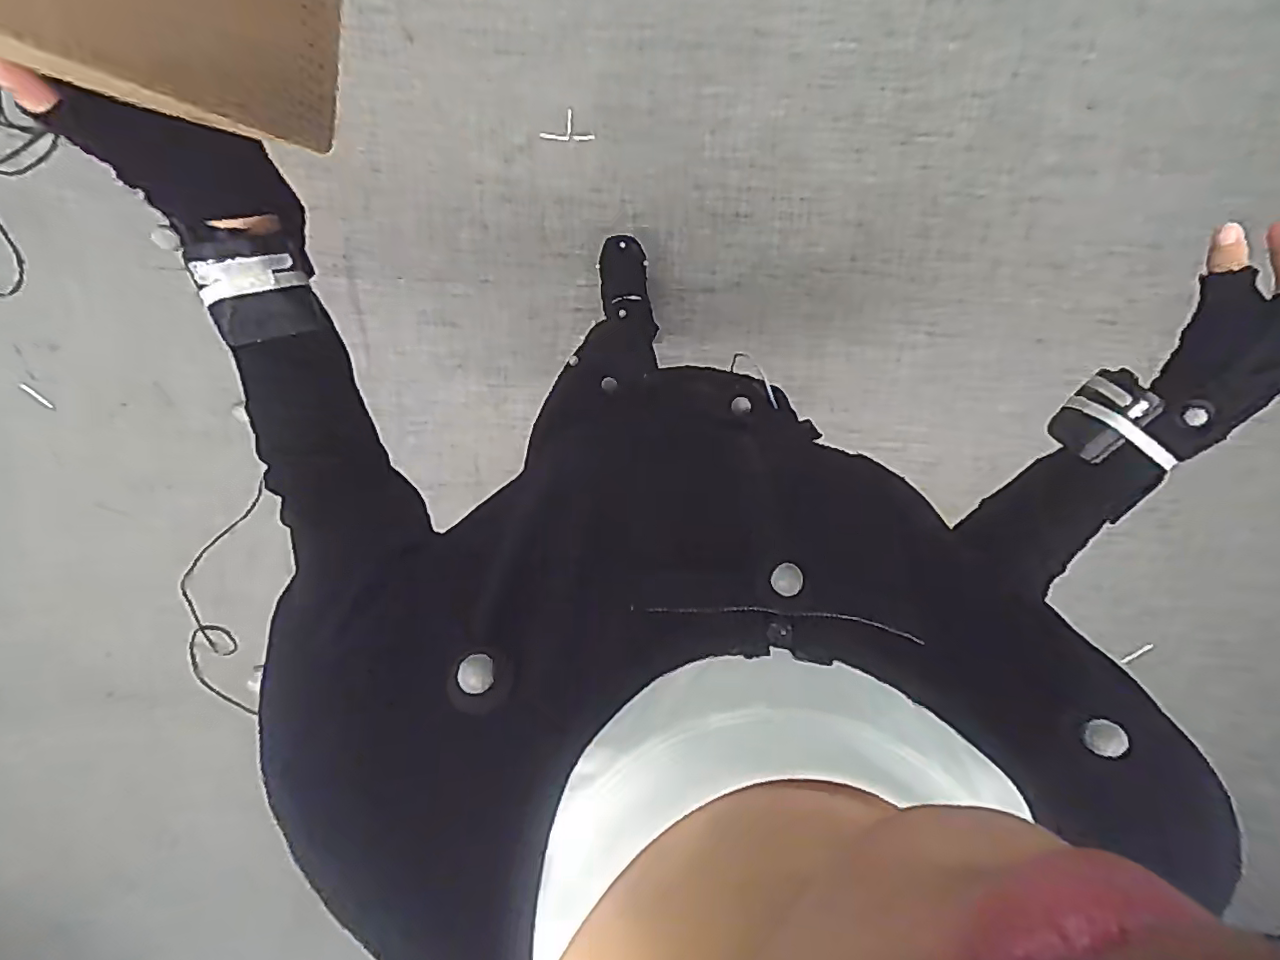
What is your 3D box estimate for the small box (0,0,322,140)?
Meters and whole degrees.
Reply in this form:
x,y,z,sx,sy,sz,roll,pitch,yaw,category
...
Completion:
x,y,z,sx,sy,sz,roll,pitch,yaw,category
-0.231,-0.248,0.178,0.168,0.176,0.179,16,110,1,small box
